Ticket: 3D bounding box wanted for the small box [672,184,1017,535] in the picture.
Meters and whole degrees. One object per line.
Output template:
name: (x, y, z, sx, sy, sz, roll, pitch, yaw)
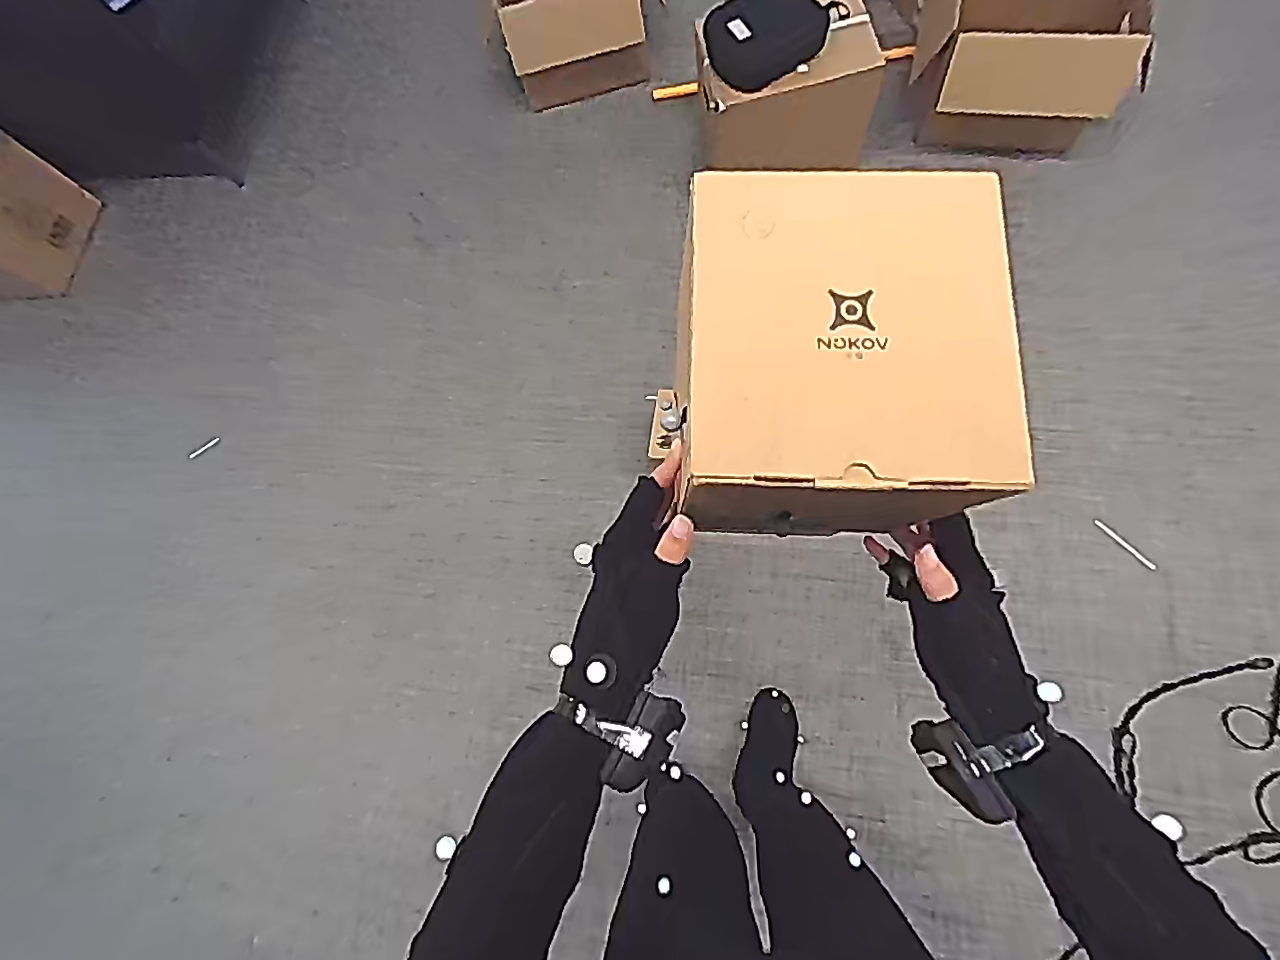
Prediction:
small box: (0.107, -0.063, 0.362, 0.168, 0.176, 0.179, 1, 77, 2)
